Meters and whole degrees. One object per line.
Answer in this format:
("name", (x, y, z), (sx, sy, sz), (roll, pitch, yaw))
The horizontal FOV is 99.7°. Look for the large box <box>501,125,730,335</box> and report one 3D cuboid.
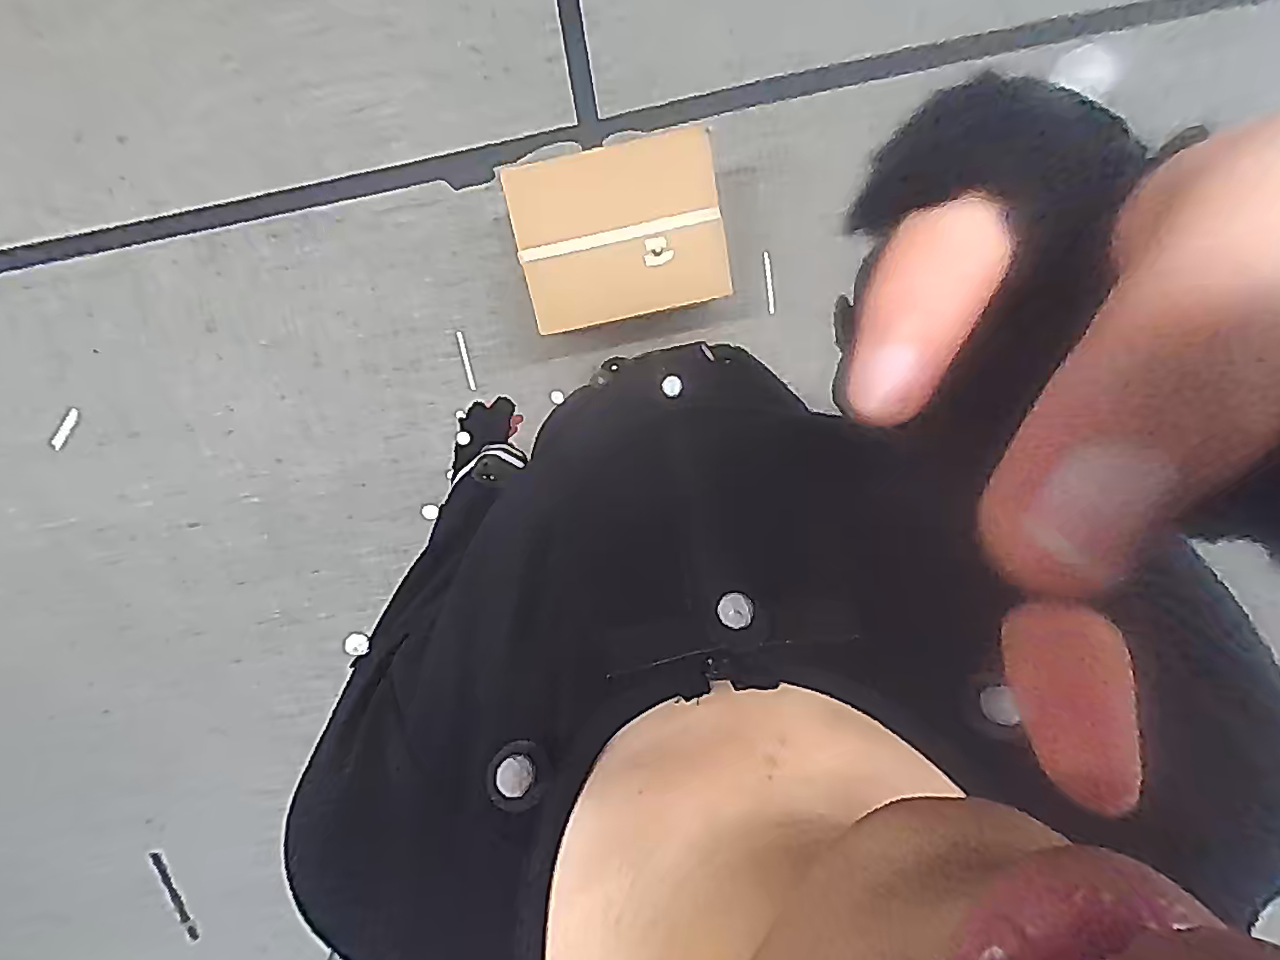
("large box", (-0.050, -0.521, 1.205), (0.408, 0.320, 0.320), (-12, 106, 0))
